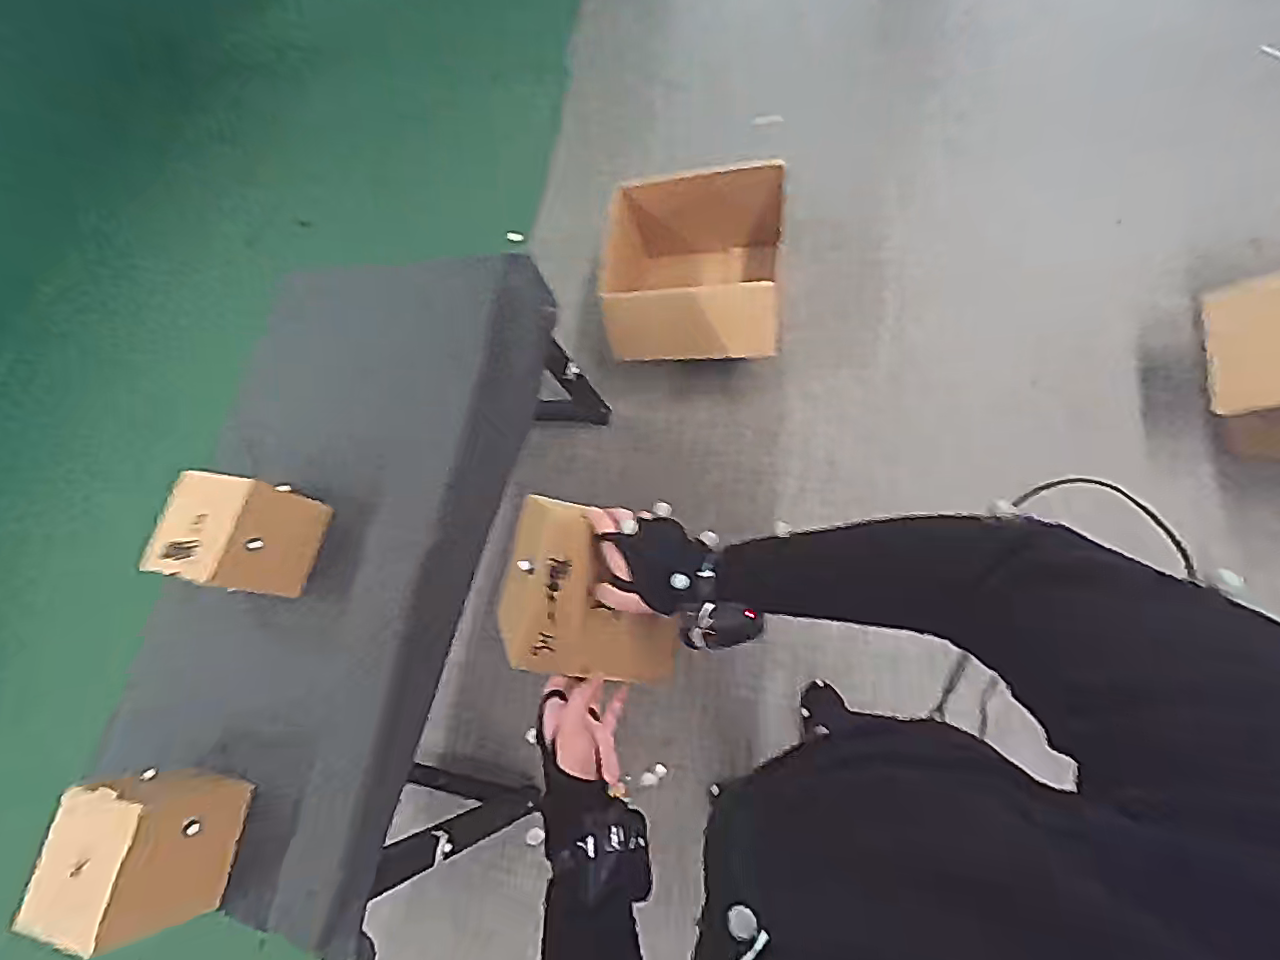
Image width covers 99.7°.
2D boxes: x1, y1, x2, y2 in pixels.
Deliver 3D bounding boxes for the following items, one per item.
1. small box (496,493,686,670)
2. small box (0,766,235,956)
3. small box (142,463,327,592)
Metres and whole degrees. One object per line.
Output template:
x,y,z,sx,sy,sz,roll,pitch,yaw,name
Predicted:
-0.069,0.116,0.664,0.179,0.176,0.168,12,92,-20,small box
-0.747,0.536,0.795,0.168,0.176,0.179,0,72,18,small box
-0.699,0.089,0.953,0.168,0.176,0.179,11,75,18,small box
